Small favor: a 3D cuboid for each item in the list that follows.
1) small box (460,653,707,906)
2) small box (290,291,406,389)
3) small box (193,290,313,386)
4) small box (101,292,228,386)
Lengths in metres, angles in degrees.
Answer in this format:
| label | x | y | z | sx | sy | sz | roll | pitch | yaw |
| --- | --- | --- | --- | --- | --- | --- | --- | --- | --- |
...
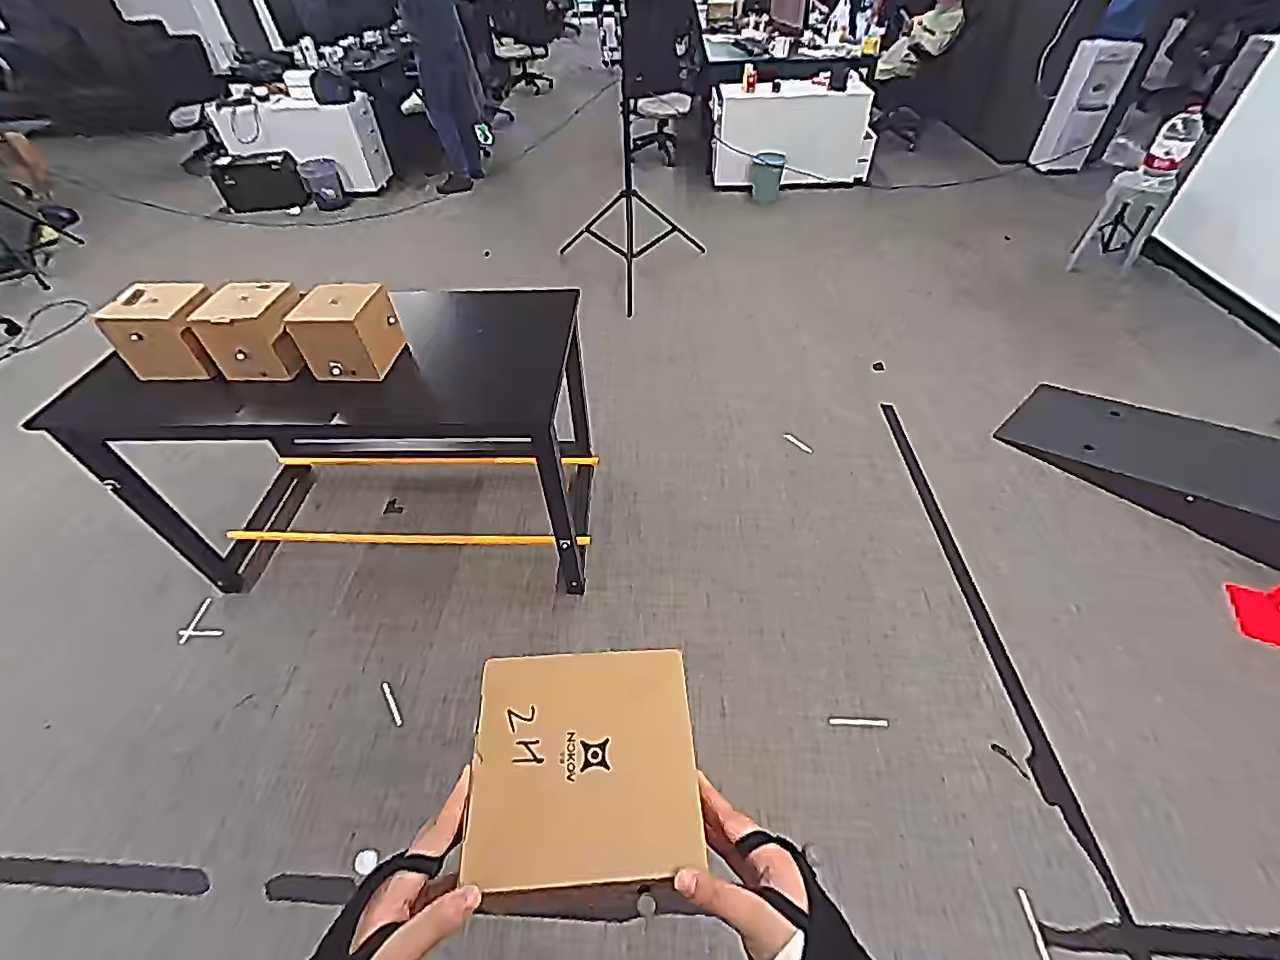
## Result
| label | x | y | z | sx | sy | sz | roll | pitch | yaw |
| --- | --- | --- | --- | --- | --- | --- | --- | --- | --- |
| small box | -0.045 | 0.272 | 0.490 | 0.179 | 0.176 | 0.168 | -2 | 48 | -3 |
| small box | -0.696 | -0.342 | 1.318 | 0.168 | 0.176 | 0.179 | 0 | 47 | 4 |
| small box | -0.921 | -0.345 | 1.328 | 0.168 | 0.176 | 0.179 | 0 | 46 | 3 |
| small box | -1.136 | -0.346 | 1.335 | 0.179 | 0.176 | 0.168 | -1 | 46 | 0 |
